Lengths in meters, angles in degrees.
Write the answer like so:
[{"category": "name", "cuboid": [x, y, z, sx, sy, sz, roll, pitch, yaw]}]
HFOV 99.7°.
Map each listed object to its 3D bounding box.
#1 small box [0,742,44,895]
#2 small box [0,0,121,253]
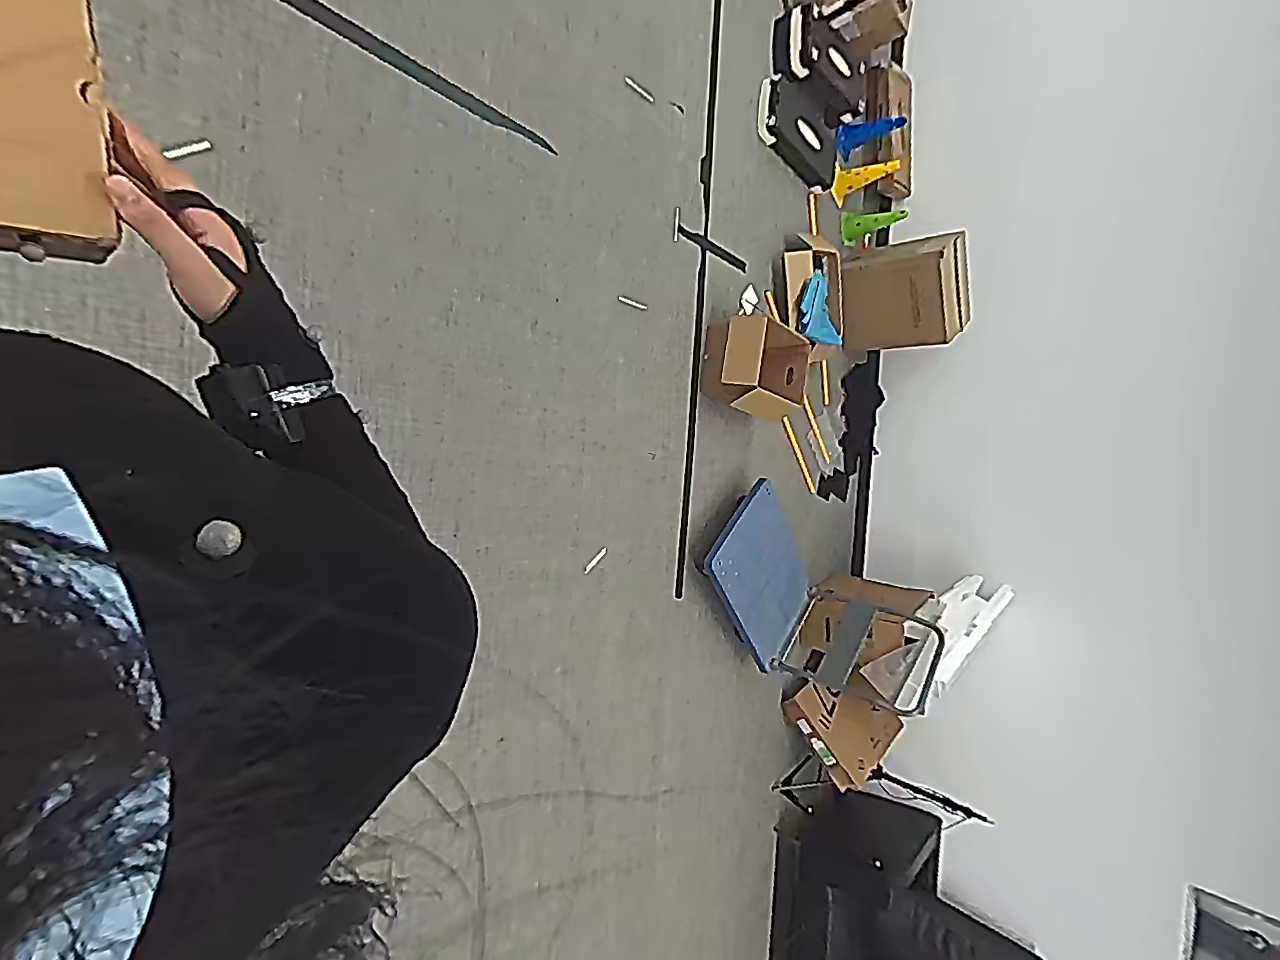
[{"category": "small box", "cuboid": [-1.050, 0.527, 0.830, 0.168, 0.176, 0.179, 9, 89, -46]}, {"category": "small box", "cuboid": [-0.435, -0.236, 0.313, 0.179, 0.176, 0.168, -9, 108, -47]}]
